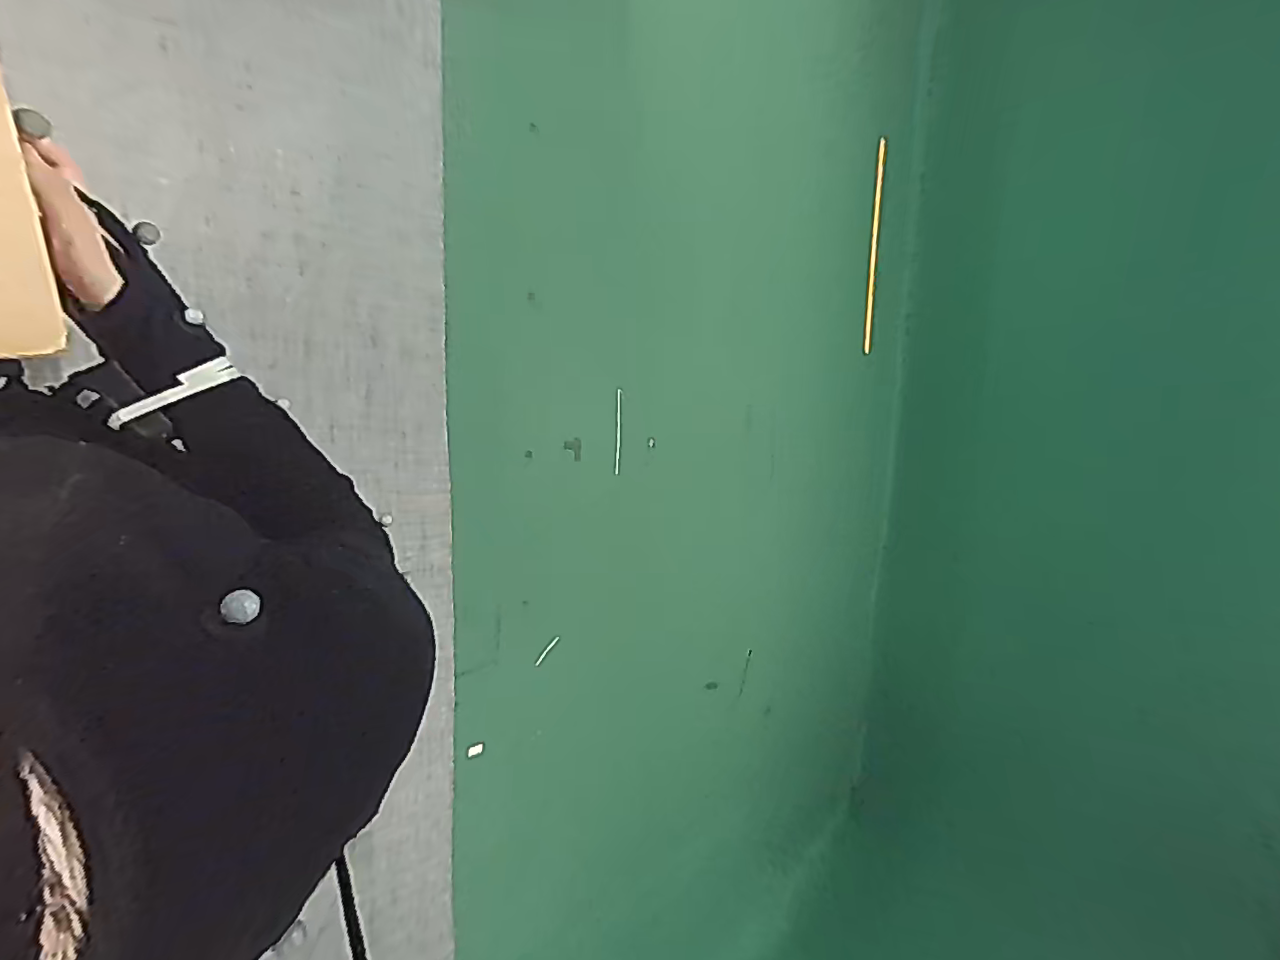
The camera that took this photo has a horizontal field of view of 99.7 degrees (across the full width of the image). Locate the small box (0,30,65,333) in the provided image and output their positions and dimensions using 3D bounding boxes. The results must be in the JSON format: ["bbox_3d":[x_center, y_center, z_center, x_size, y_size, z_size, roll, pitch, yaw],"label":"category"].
[{"bbox_3d":[-0.429,-0.166,0.264,0.168,0.176,0.179,-17,115,-49],"label":"small box"}]
